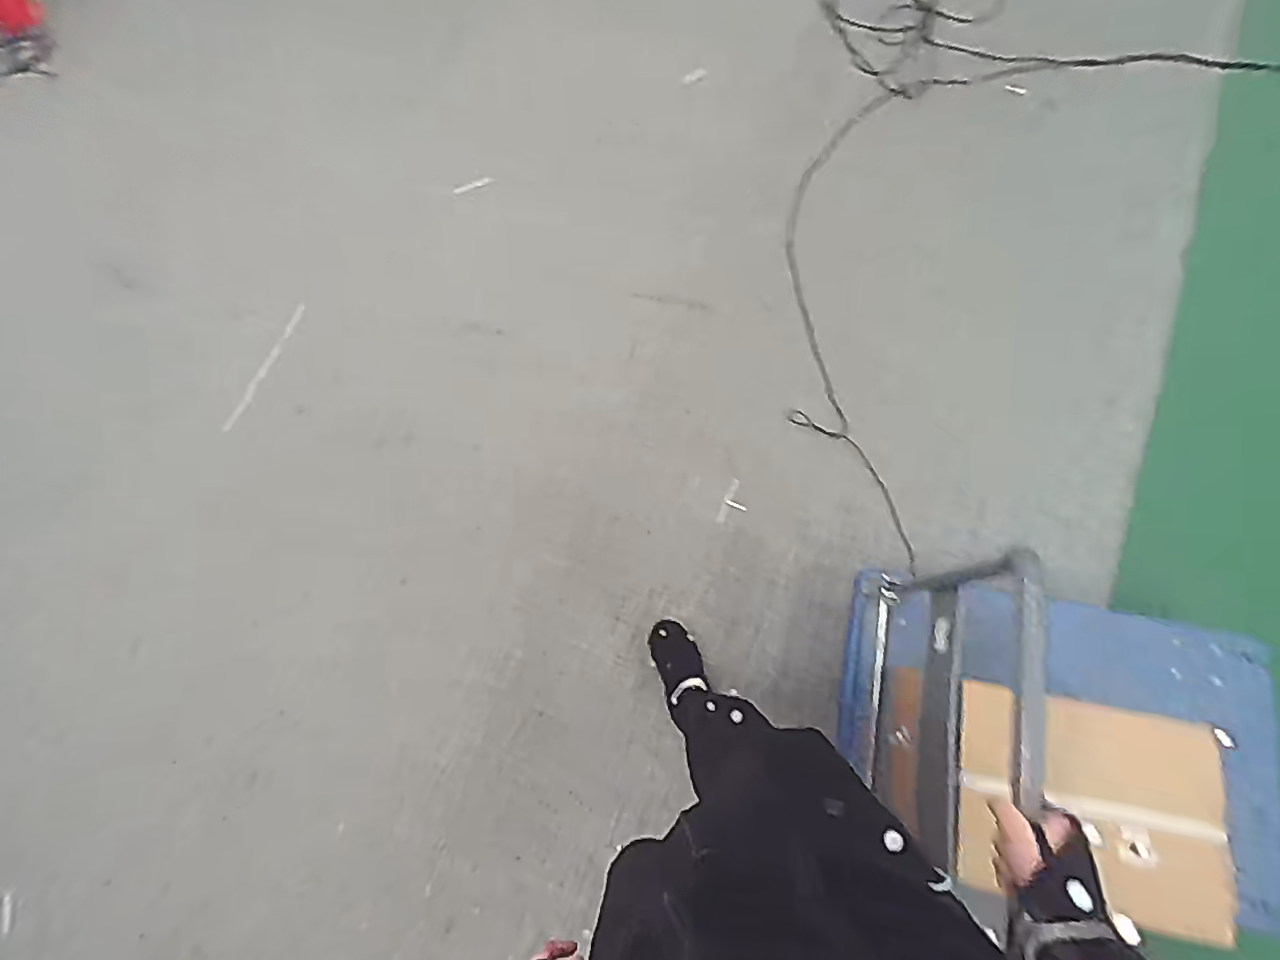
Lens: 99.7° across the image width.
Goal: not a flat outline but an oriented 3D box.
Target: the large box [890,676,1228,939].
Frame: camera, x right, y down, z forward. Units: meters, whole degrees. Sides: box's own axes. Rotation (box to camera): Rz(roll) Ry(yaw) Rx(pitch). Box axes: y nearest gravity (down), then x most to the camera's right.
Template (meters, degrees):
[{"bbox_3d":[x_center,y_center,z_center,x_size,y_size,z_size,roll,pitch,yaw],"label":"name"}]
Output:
[{"bbox_3d":[0.738,0.572,1.027,0.408,0.320,0.320,9,76,6],"label":"large box"}]
